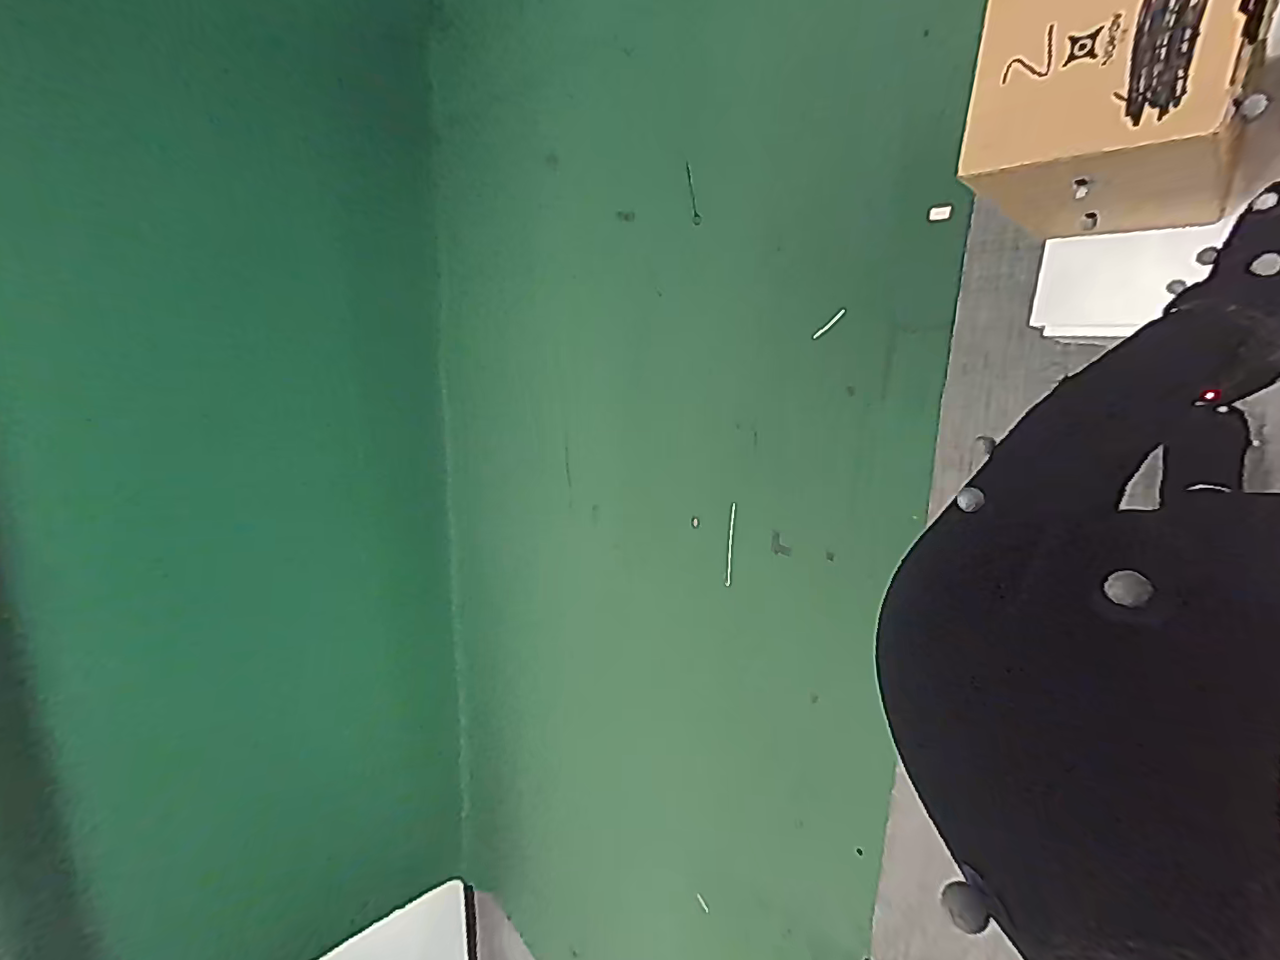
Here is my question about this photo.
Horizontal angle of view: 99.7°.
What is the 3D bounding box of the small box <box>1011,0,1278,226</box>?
[{"bbox_3d":[0.548,-0.391,0.598,0.179,0.176,0.168,16,109,44],"label":"small box"}]
